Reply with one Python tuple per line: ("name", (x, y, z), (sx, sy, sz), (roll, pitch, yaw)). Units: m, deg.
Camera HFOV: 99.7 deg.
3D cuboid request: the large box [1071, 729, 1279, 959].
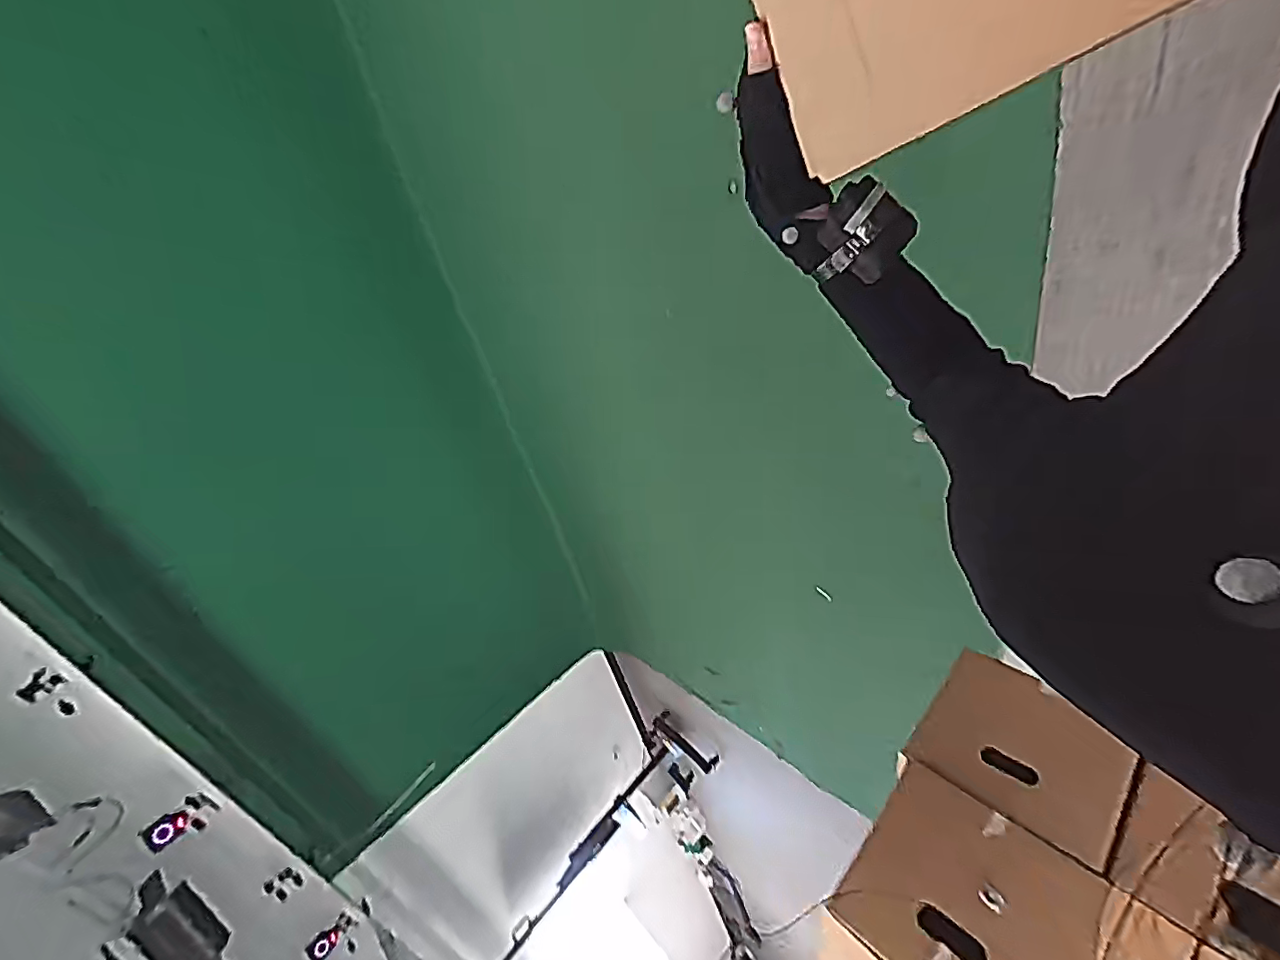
("large box", (0.976, 0.711, 0.889), (0.320, 0.320, 0.408), (22, 139, 44))
